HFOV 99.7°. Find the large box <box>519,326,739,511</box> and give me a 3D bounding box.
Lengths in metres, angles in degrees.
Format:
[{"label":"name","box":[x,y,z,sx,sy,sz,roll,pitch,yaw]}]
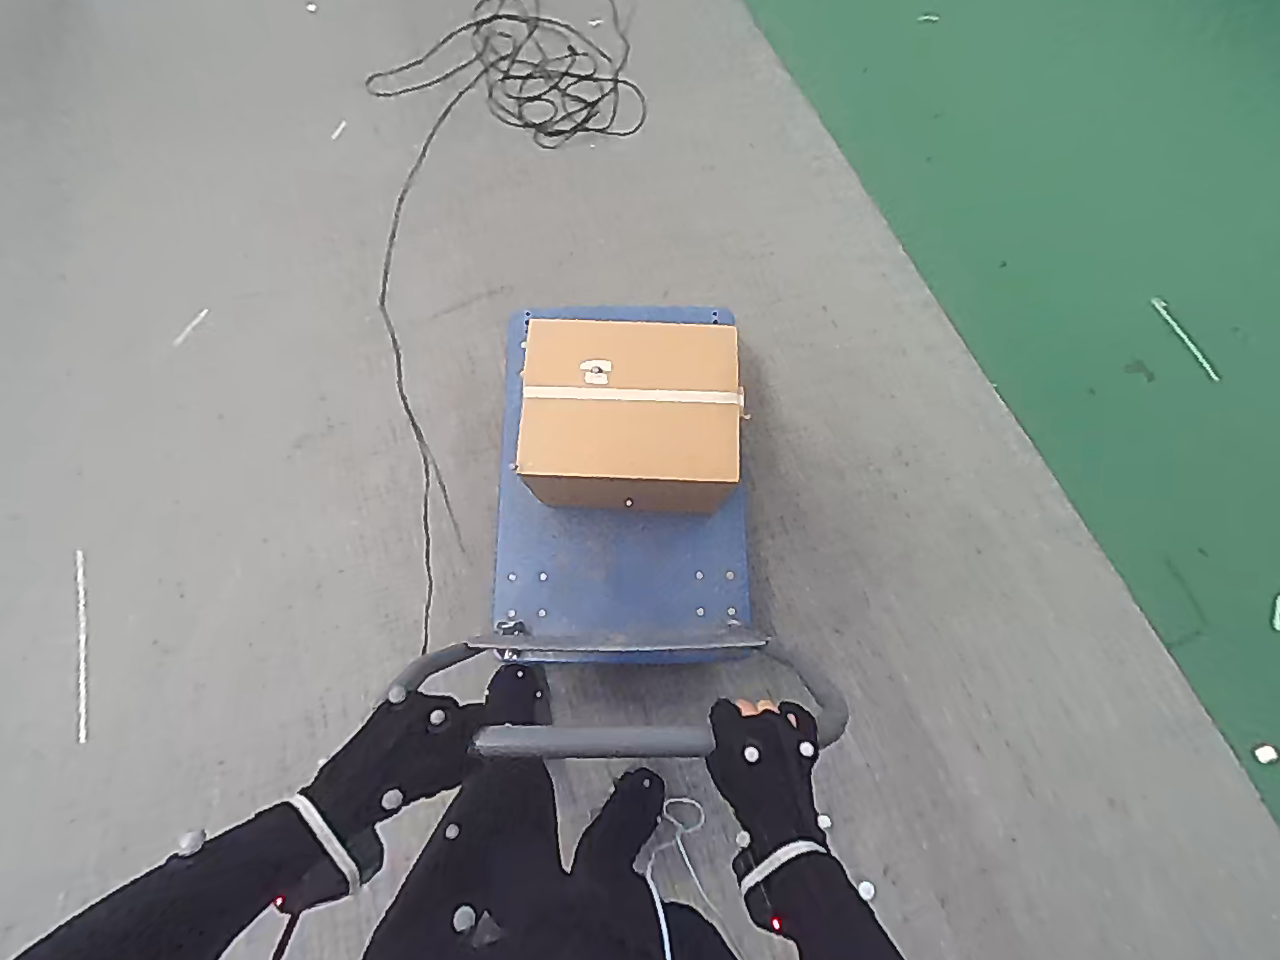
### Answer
[{"label":"large box","box":[-0.012,-0.111,1.149,0.408,0.320,0.320,2,76,1]}]
